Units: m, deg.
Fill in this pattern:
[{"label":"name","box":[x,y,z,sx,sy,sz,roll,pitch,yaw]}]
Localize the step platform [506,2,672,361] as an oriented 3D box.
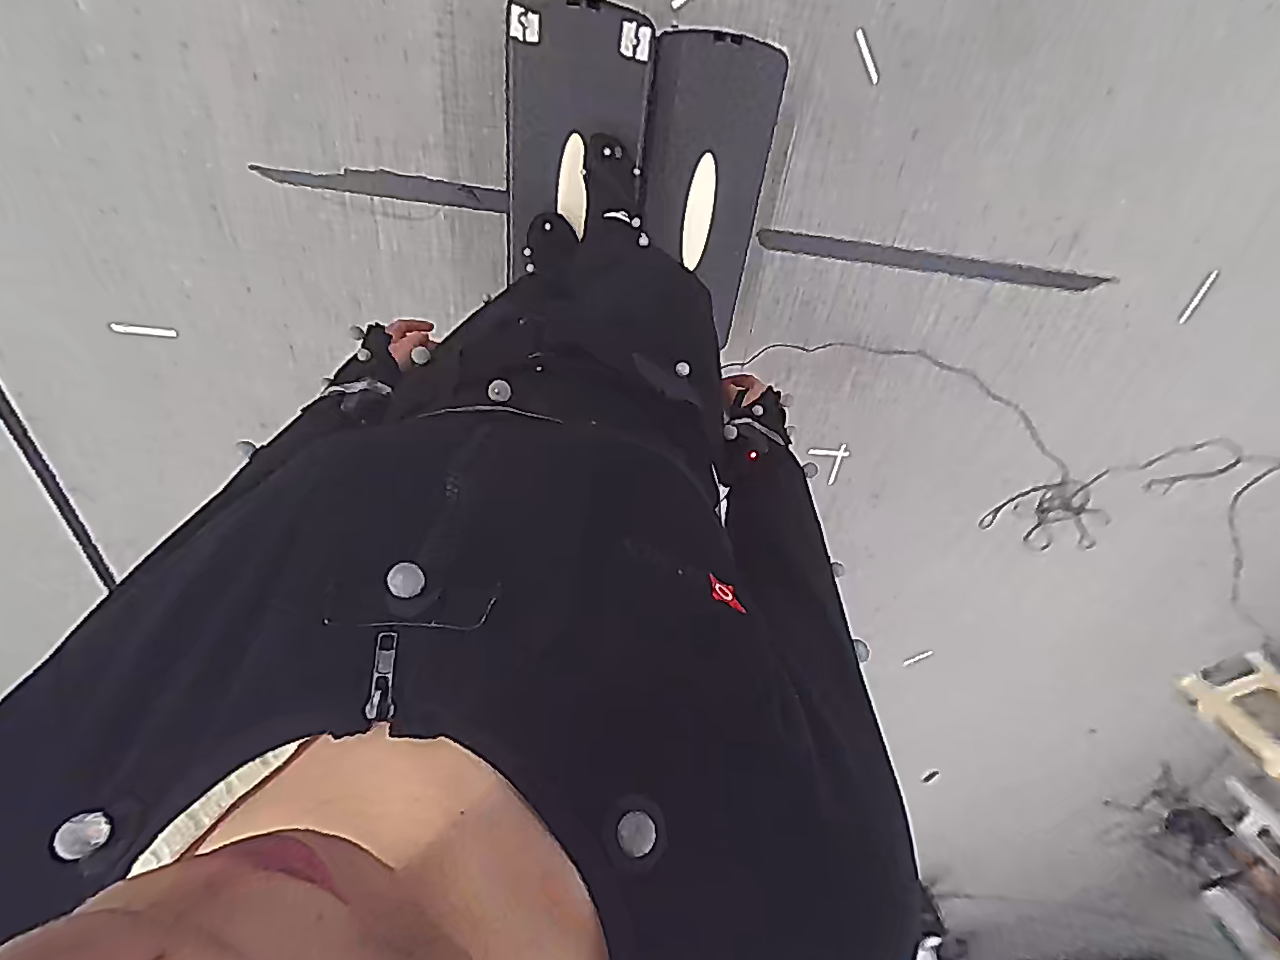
[{"label":"step platform","box":[-0.134,-0.617,1.215,0.286,0.204,0.684,7,121,-9]}]
